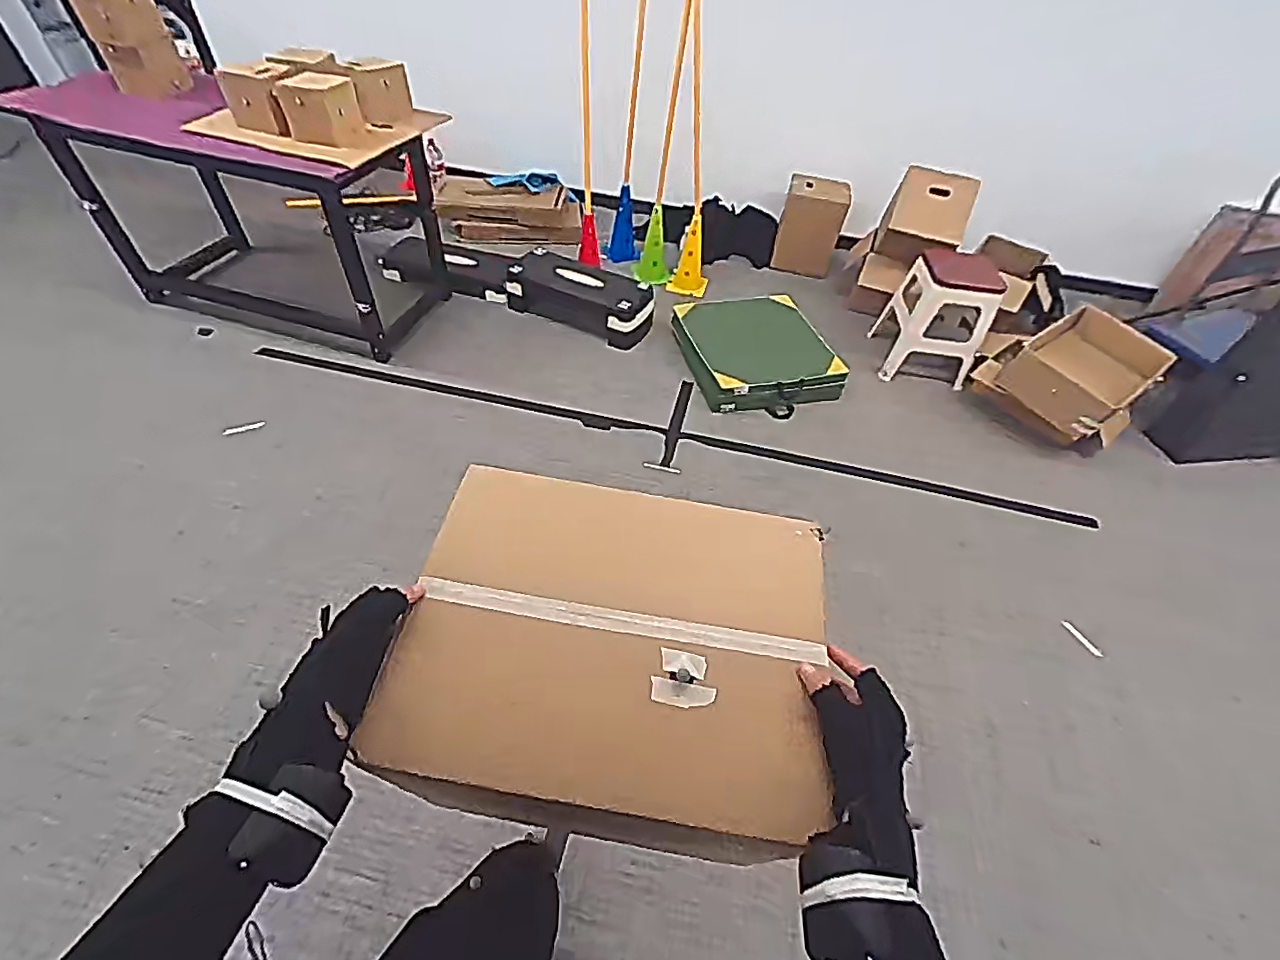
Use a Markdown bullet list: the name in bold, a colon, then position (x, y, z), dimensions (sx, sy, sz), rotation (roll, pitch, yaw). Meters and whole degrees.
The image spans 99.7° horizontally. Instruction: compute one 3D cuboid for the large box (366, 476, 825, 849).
- **large box**: position (-0.033, 0.232, 0.663), dimensions (0.408, 0.320, 0.320), rotation (10, 54, 1)
